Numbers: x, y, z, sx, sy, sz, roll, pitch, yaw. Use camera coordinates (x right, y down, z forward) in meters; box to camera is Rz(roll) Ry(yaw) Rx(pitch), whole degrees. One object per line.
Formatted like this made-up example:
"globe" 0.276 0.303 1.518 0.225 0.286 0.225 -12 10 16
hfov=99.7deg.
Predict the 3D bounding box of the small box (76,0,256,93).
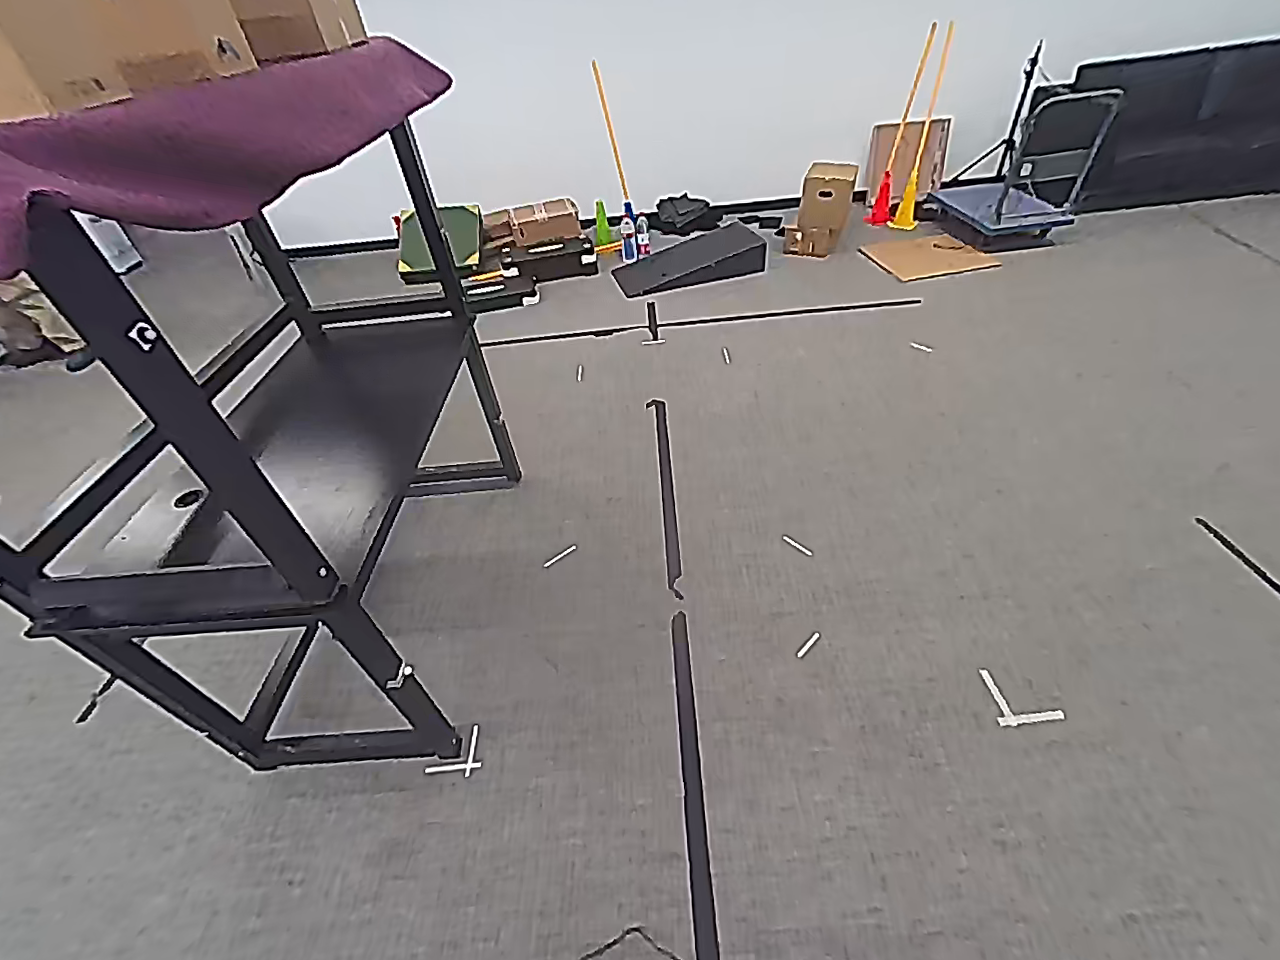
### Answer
"small box" -0.779 -0.740 0.871 0.179 0.176 0.168 -7 43 -1

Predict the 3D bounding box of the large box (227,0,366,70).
"large box" -0.864 -1.053 1.122 0.408 0.320 0.320 -8 42 1

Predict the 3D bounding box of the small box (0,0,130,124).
"small box" -0.762 -0.509 0.613 0.179 0.176 0.168 -11 43 -3
